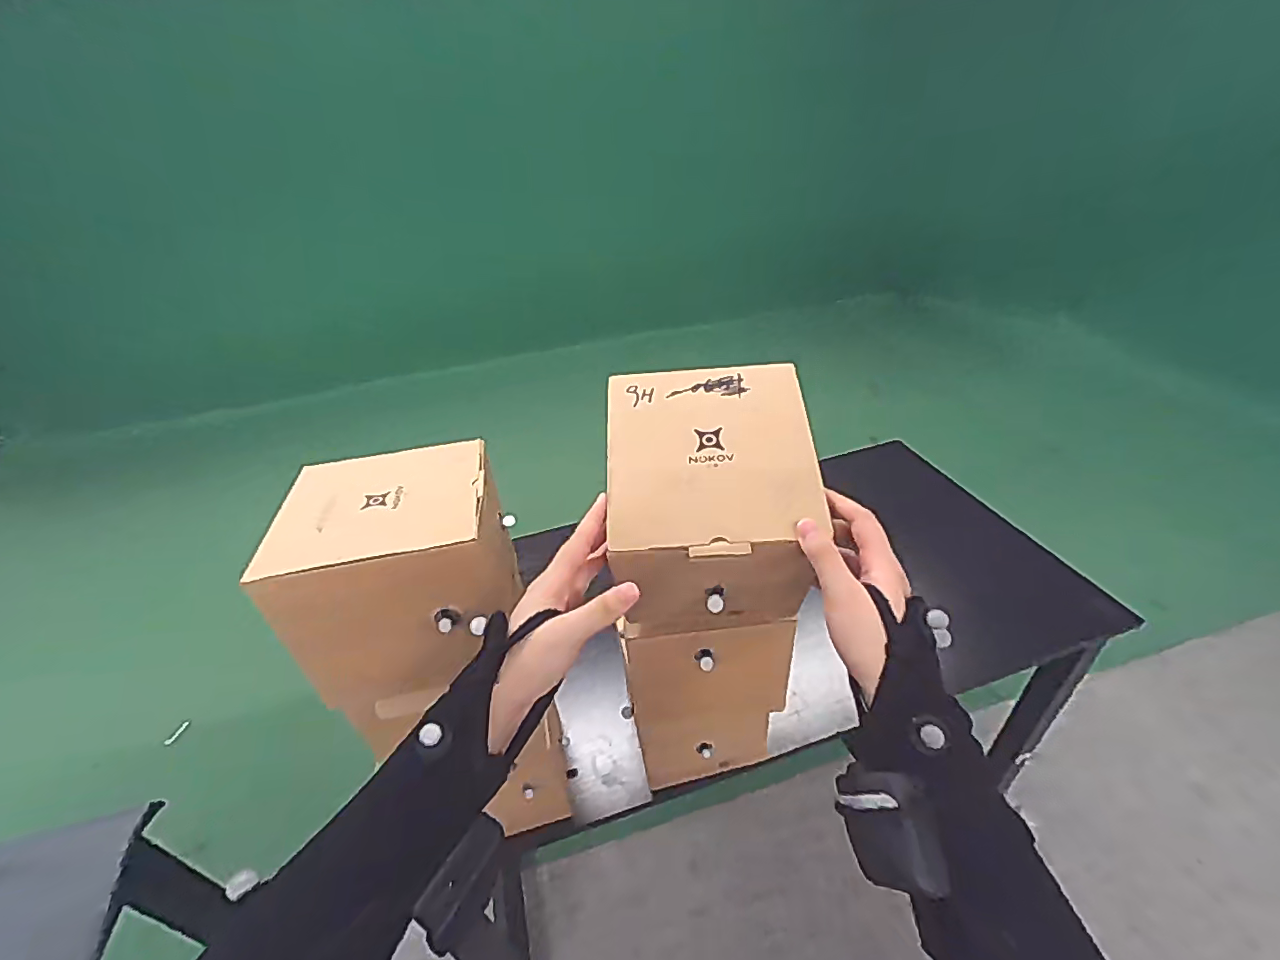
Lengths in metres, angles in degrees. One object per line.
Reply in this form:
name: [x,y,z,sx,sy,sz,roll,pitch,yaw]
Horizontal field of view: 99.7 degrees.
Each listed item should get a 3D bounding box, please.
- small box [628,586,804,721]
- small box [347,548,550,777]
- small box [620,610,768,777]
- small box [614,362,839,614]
small box: [0.078,0.163,0.645,0.179,0.176,0.168,-6,37,-1]
small box: [-0.202,0.210,0.619,0.168,0.176,0.179,-11,35,-8]
small box: [0.074,0.285,0.755,0.168,0.176,0.179,-11,36,-7]
small box: [0.068,0.018,0.500,0.168,0.176,0.179,-4,58,3]
